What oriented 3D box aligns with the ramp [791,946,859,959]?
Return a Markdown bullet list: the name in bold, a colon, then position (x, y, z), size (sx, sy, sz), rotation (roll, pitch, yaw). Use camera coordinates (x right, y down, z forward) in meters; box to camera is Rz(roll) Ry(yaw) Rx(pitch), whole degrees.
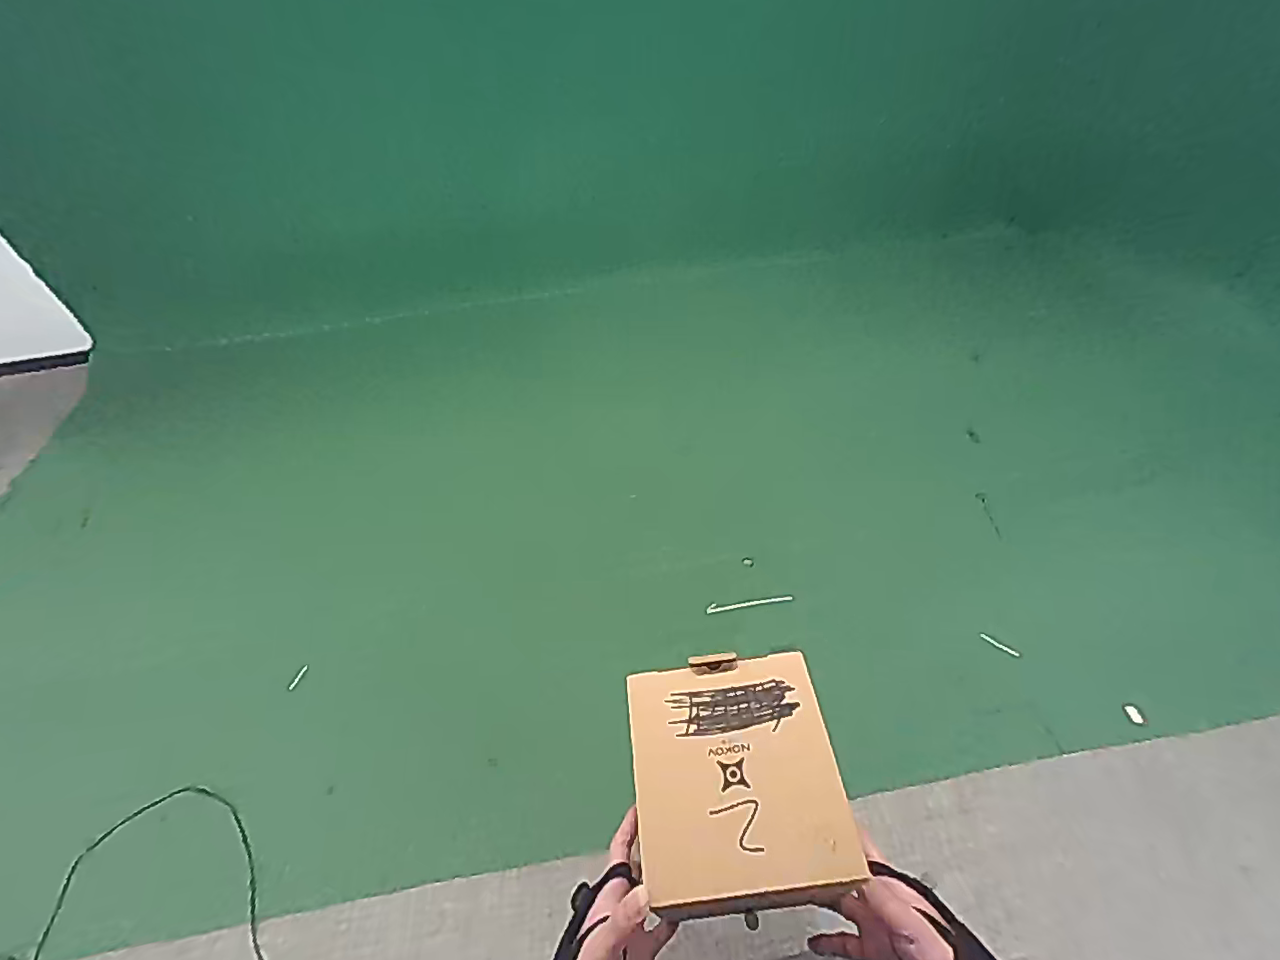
- **ramp**: position (0.329, 1.477, 0.913), size (0.509, 0.206, 0.991), rotation (-11, 48, -6)
